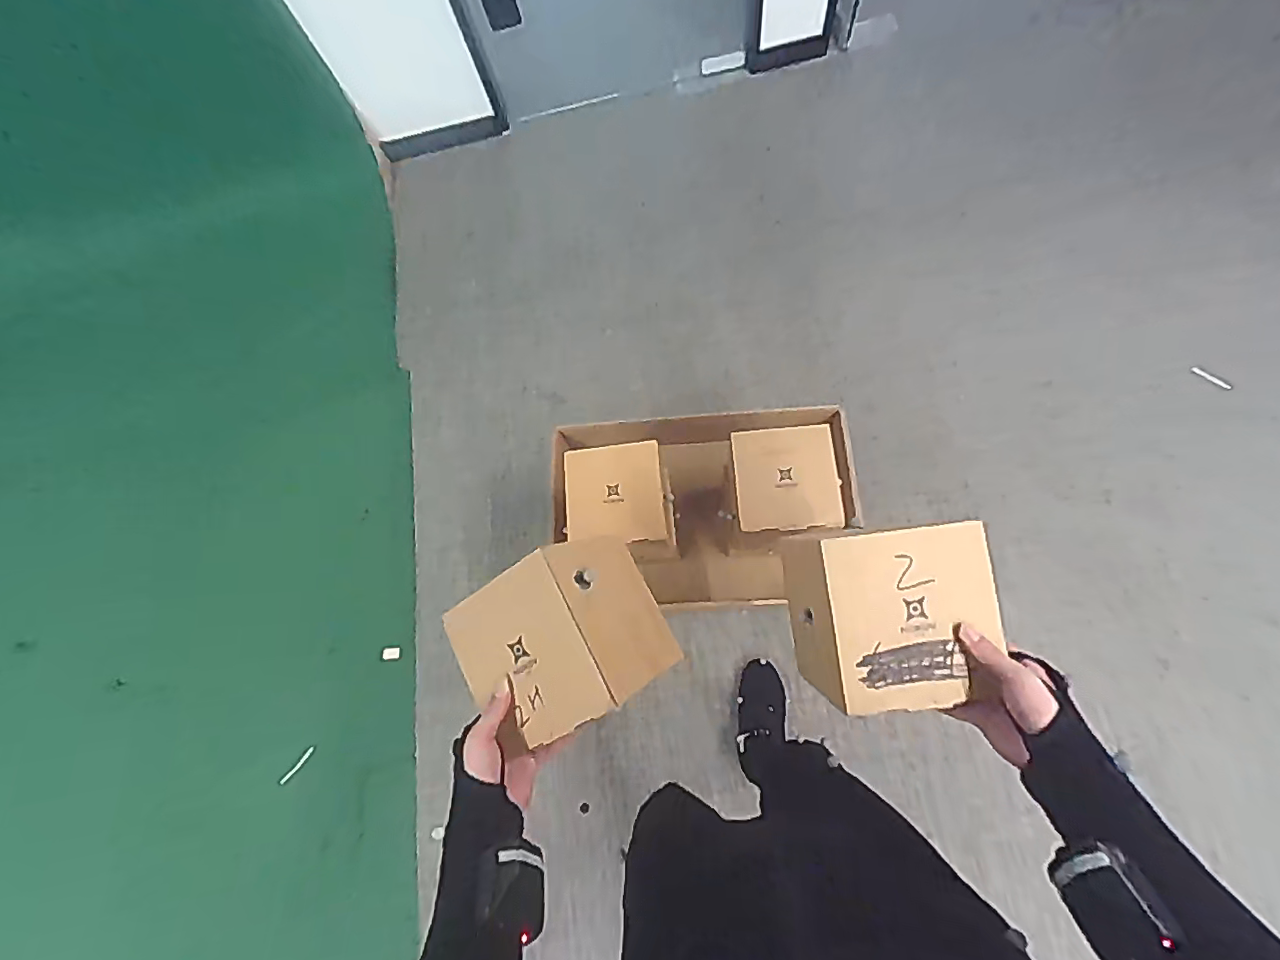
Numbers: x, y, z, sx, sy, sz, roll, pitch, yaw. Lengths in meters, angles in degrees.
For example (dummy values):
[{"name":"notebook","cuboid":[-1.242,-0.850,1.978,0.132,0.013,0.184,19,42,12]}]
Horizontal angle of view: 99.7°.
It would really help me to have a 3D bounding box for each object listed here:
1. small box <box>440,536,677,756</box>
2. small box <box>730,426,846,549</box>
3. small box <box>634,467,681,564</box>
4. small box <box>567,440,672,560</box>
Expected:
[{"name":"small box","cuboid":[-0.086,0.174,0.622,0.168,0.176,0.179,-34,75,22]},{"name":"small box","cuboid":[0.248,0.022,0.943,0.168,0.176,0.179,-3,71,6]},{"name":"small box","cuboid":[-0.009,0.083,1.132,0.179,0.176,0.168,-6,72,5]},{"name":"small box","cuboid":[-0.033,0.046,0.974,0.168,0.176,0.179,-6,72,5]}]
